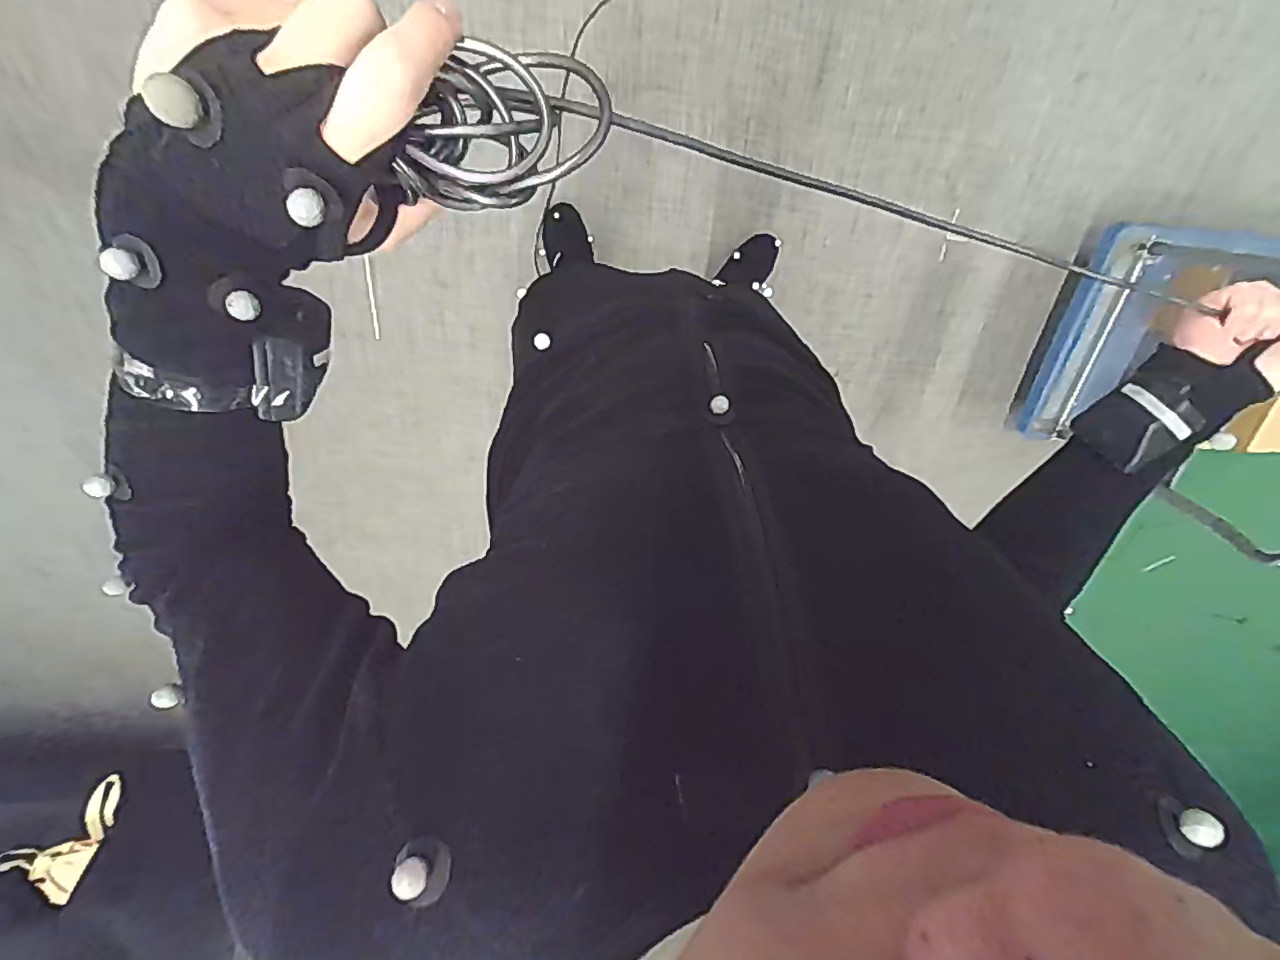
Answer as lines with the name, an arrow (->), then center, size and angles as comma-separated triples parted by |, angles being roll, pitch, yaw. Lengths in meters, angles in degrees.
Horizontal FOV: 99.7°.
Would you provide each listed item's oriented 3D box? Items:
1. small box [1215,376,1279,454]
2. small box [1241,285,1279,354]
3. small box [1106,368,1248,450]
small box -> 1.709, -0.182, 1.490 | 0.179, 0.176, 0.168 | 0, 119, -3
small box -> 1.713, -0.401, 1.366 | 0.179, 0.176, 0.168 | -1, 120, -4
small box -> 1.440, -0.195, 1.464 | 0.179, 0.176, 0.168 | 4, 119, -6
